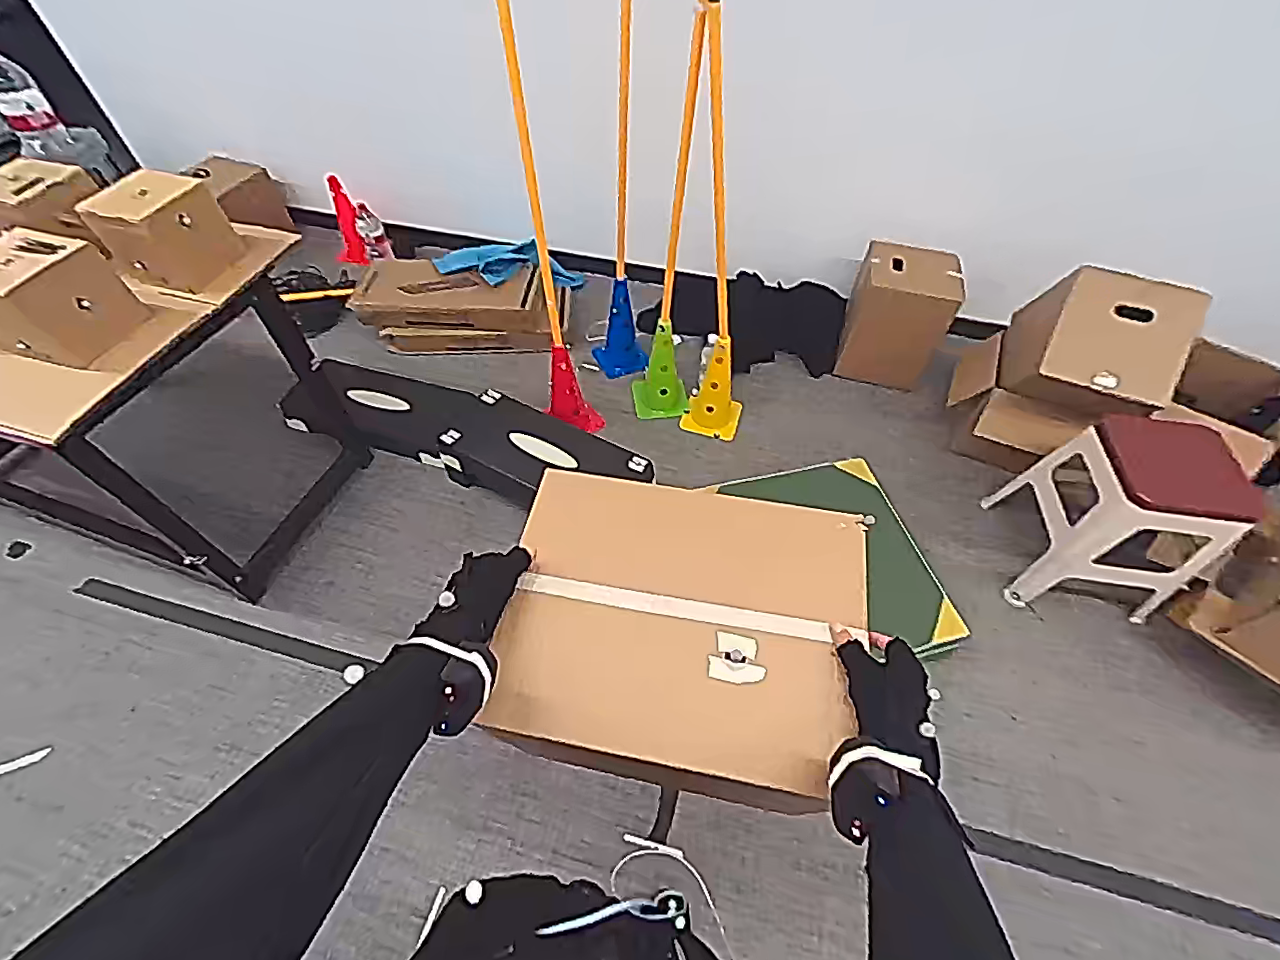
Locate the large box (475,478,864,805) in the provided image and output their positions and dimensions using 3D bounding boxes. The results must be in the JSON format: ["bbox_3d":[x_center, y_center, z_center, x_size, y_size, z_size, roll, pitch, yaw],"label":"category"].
[{"bbox_3d":[0.049,0.229,0.743,0.408,0.320,0.320,9,59,7],"label":"large box"}]
